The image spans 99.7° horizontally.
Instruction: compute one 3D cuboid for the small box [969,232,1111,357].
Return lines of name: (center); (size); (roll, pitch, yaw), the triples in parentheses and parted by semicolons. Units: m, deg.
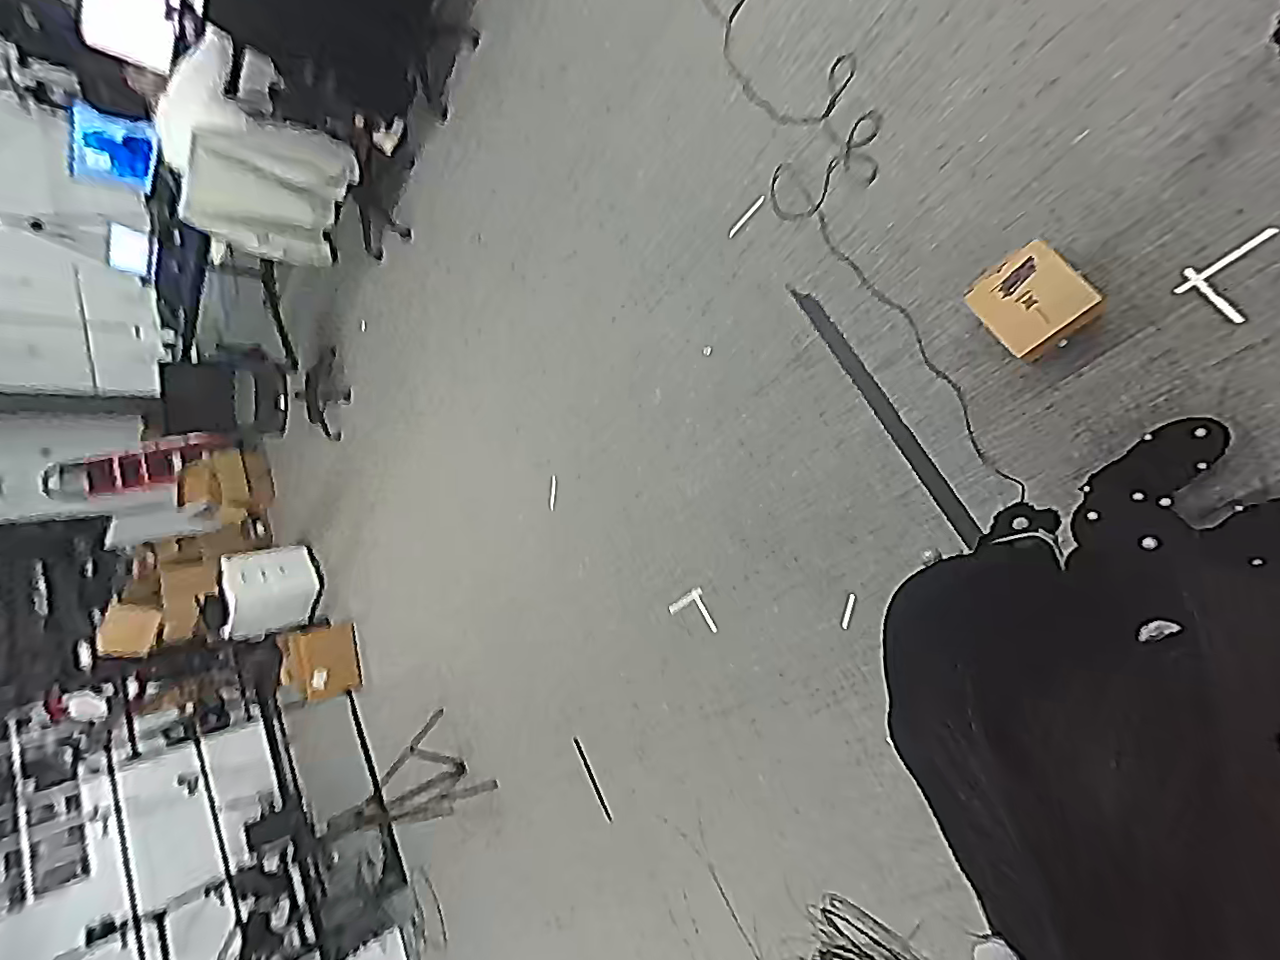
small box: (0.833, -0.376, 1.129); (0.168, 0.176, 0.179); (-45, 66, 36)
